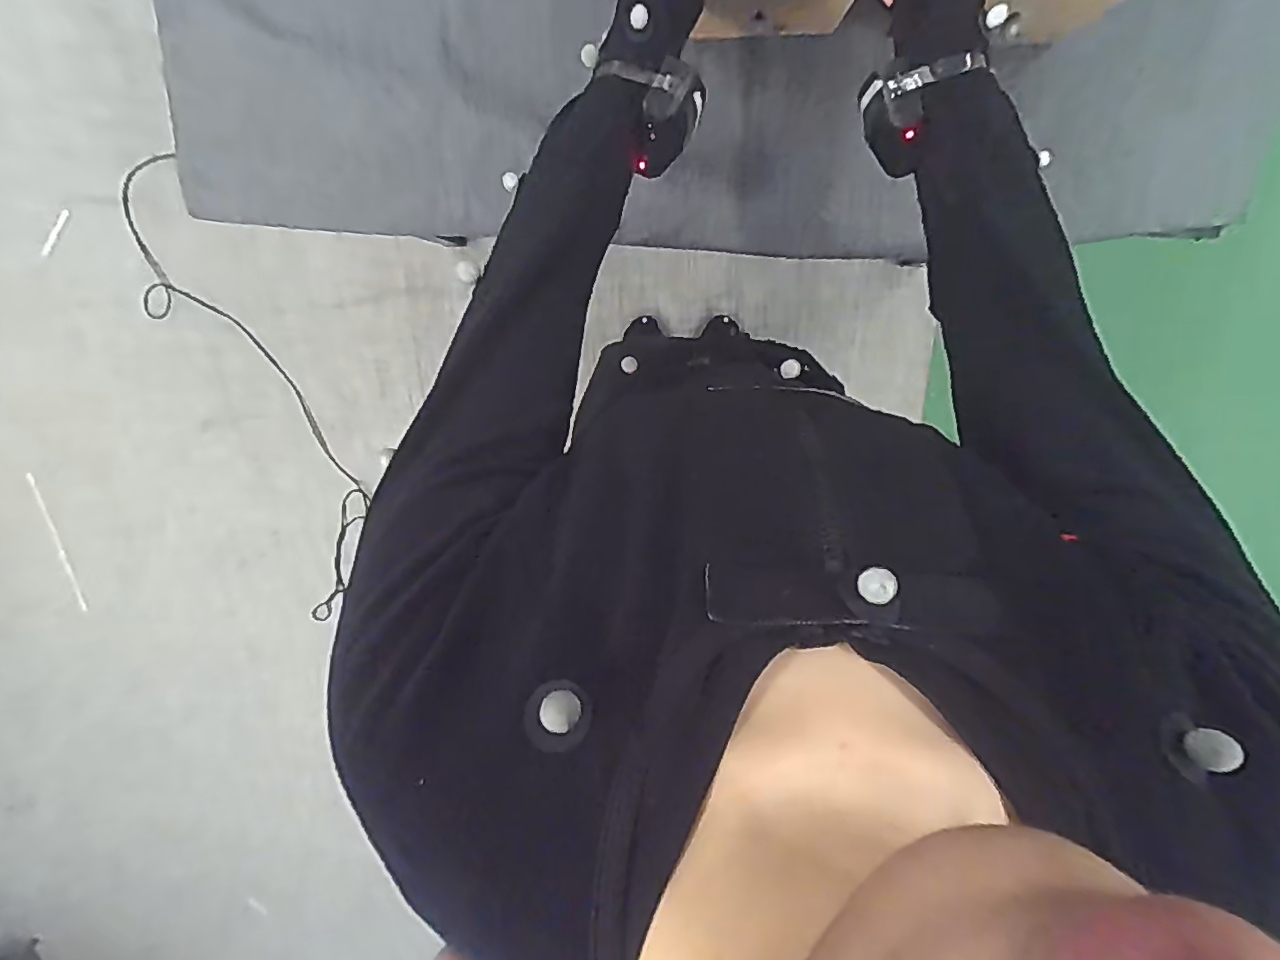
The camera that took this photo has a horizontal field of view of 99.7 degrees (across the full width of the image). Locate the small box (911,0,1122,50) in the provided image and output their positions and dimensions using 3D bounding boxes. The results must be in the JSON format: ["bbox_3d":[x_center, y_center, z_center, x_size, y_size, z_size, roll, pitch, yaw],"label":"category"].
[{"bbox_3d":[0.364,-0.523,0.477,0.168,0.176,0.179,1,107,3],"label":"small box"}]
